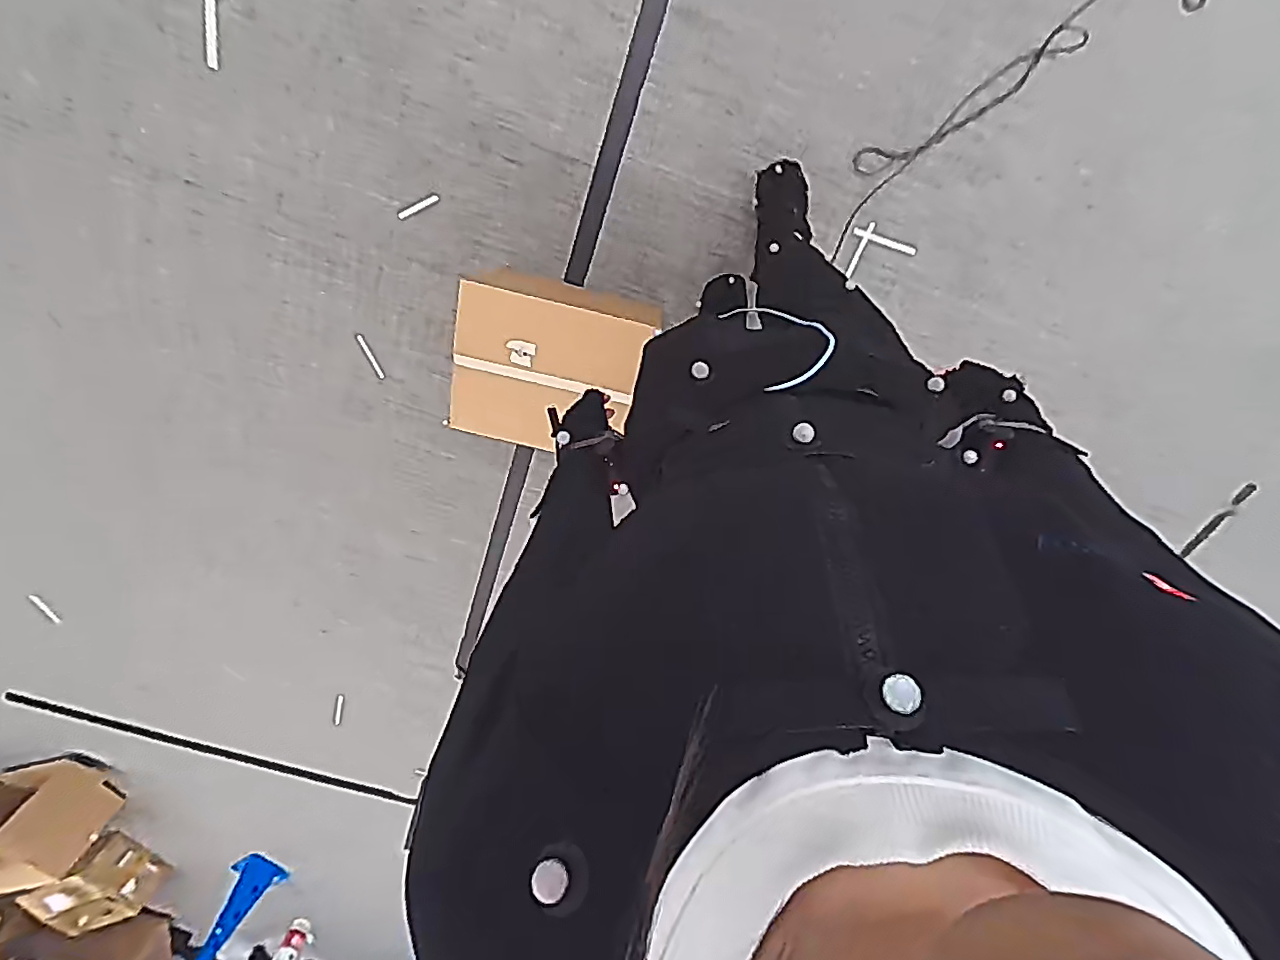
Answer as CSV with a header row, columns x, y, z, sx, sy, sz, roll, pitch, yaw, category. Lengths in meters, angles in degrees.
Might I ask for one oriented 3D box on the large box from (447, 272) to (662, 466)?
x,y,z,sx,sy,sz,roll,pitch,yaw,category
-0.179,-0.267,1.243,0.408,0.320,0.320,14,114,-2,large box
